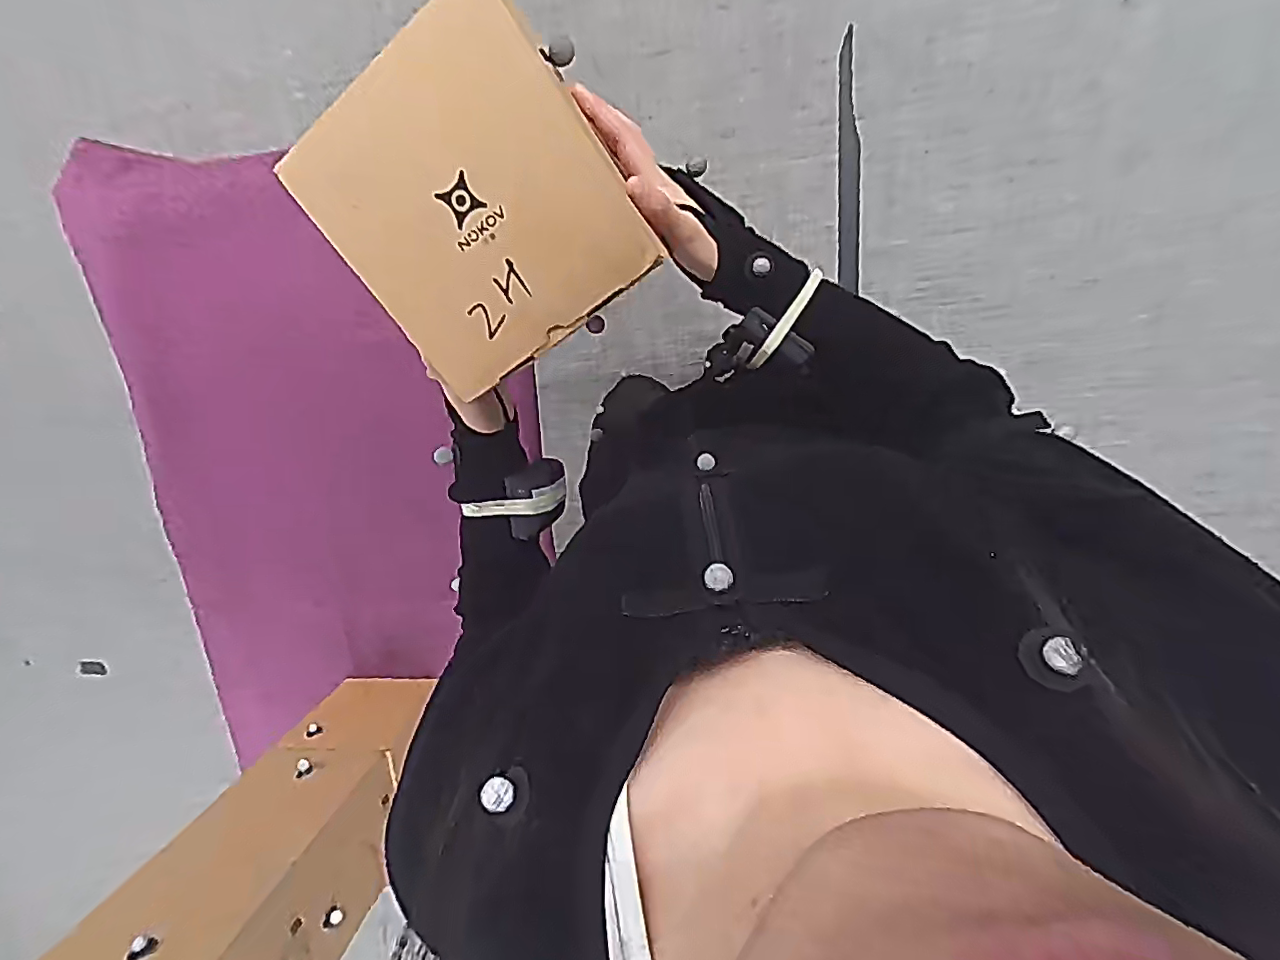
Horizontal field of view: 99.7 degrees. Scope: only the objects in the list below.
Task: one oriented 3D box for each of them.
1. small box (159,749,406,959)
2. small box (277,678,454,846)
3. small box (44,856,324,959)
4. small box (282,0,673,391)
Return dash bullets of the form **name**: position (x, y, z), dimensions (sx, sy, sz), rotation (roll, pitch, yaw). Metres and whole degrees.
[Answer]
- **small box**: position (-0.427, 0.462, 0.674), dimensions (0.179, 0.176, 0.168), rotation (-3, 103, 8)
- **small box**: position (-0.403, 0.422, 0.832), dimensions (0.179, 0.176, 0.168), rotation (-3, 103, 7)
- **small box**: position (-0.443, 0.496, 0.514), dimensions (0.179, 0.176, 0.168), rotation (-3, 103, 7)
- **small box**: position (-0.090, -0.196, 0.389), dimensions (0.168, 0.176, 0.179), rotation (-30, 109, 18)
